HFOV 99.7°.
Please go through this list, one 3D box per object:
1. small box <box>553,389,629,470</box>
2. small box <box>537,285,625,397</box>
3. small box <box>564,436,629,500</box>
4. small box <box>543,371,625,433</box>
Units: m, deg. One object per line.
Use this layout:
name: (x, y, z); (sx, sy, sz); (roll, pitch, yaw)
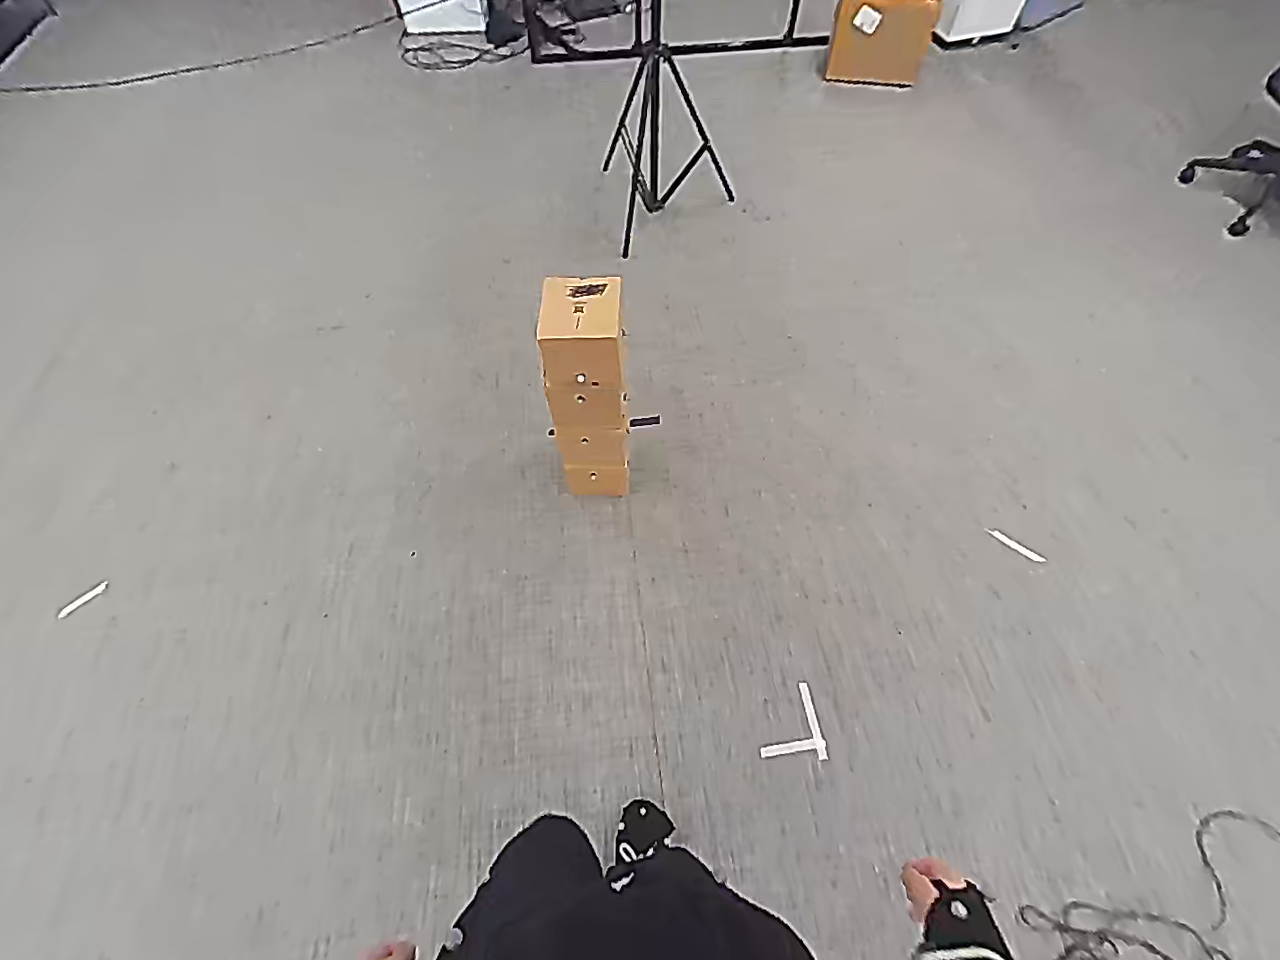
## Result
small box: (-0.126, -0.138, 1.470); (0.179, 0.176, 0.168); (3, 61, 3)
small box: (-0.121, -0.304, 1.189); (0.168, 0.176, 0.179); (0, 62, 2)
small box: (-0.122, -0.050, 1.609); (0.179, 0.176, 0.168); (0, 61, 1)
small box: (-0.131, -0.225, 1.334); (0.179, 0.176, 0.168); (1, 61, 1)
